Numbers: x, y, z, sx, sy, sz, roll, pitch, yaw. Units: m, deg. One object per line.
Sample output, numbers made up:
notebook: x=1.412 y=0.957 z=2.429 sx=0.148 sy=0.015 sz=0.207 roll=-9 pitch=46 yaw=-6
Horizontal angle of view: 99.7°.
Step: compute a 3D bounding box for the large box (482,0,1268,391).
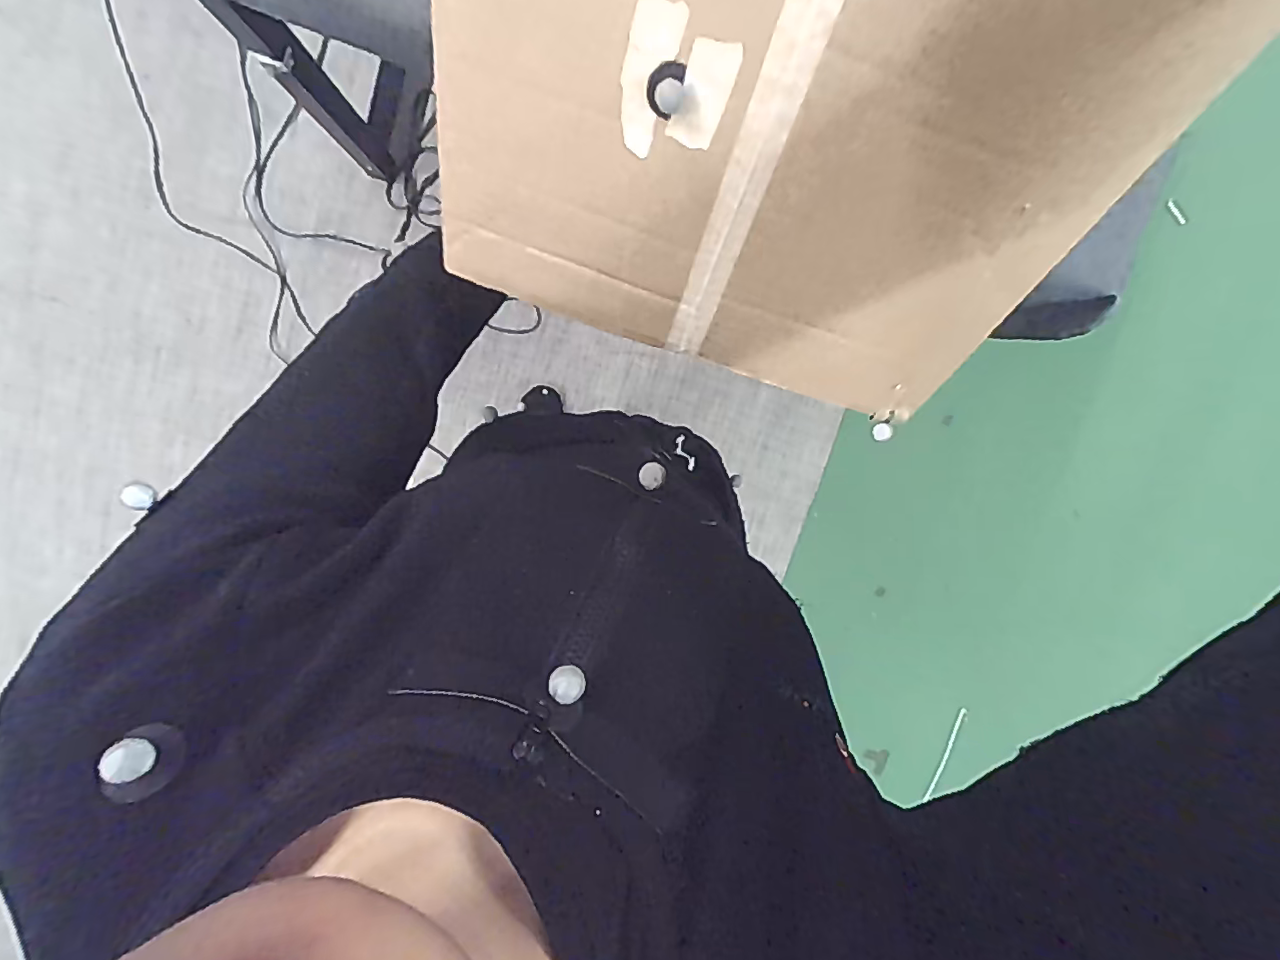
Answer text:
large box: x=0.114 y=-0.329 z=0.295 sx=0.320 sy=0.408 sz=0.320 roll=17 pitch=53 yaw=-3
